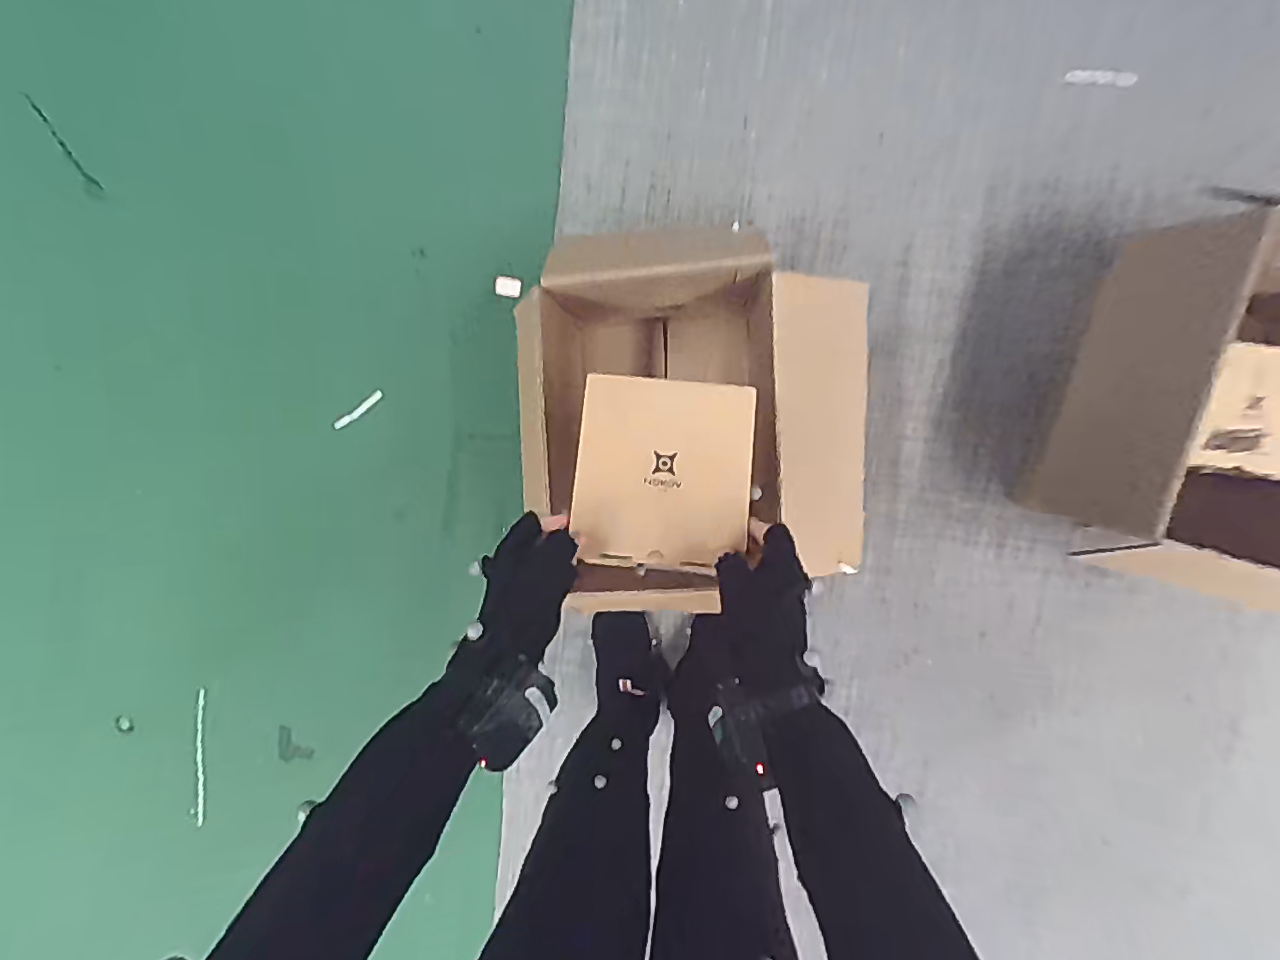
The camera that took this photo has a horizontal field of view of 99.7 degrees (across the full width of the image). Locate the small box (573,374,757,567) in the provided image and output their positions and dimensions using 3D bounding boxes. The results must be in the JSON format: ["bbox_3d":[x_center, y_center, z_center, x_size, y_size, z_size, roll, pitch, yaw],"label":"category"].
[{"bbox_3d":[0.026,0.000,0.594,0.168,0.176,0.179,5,82,1],"label":"small box"}]
